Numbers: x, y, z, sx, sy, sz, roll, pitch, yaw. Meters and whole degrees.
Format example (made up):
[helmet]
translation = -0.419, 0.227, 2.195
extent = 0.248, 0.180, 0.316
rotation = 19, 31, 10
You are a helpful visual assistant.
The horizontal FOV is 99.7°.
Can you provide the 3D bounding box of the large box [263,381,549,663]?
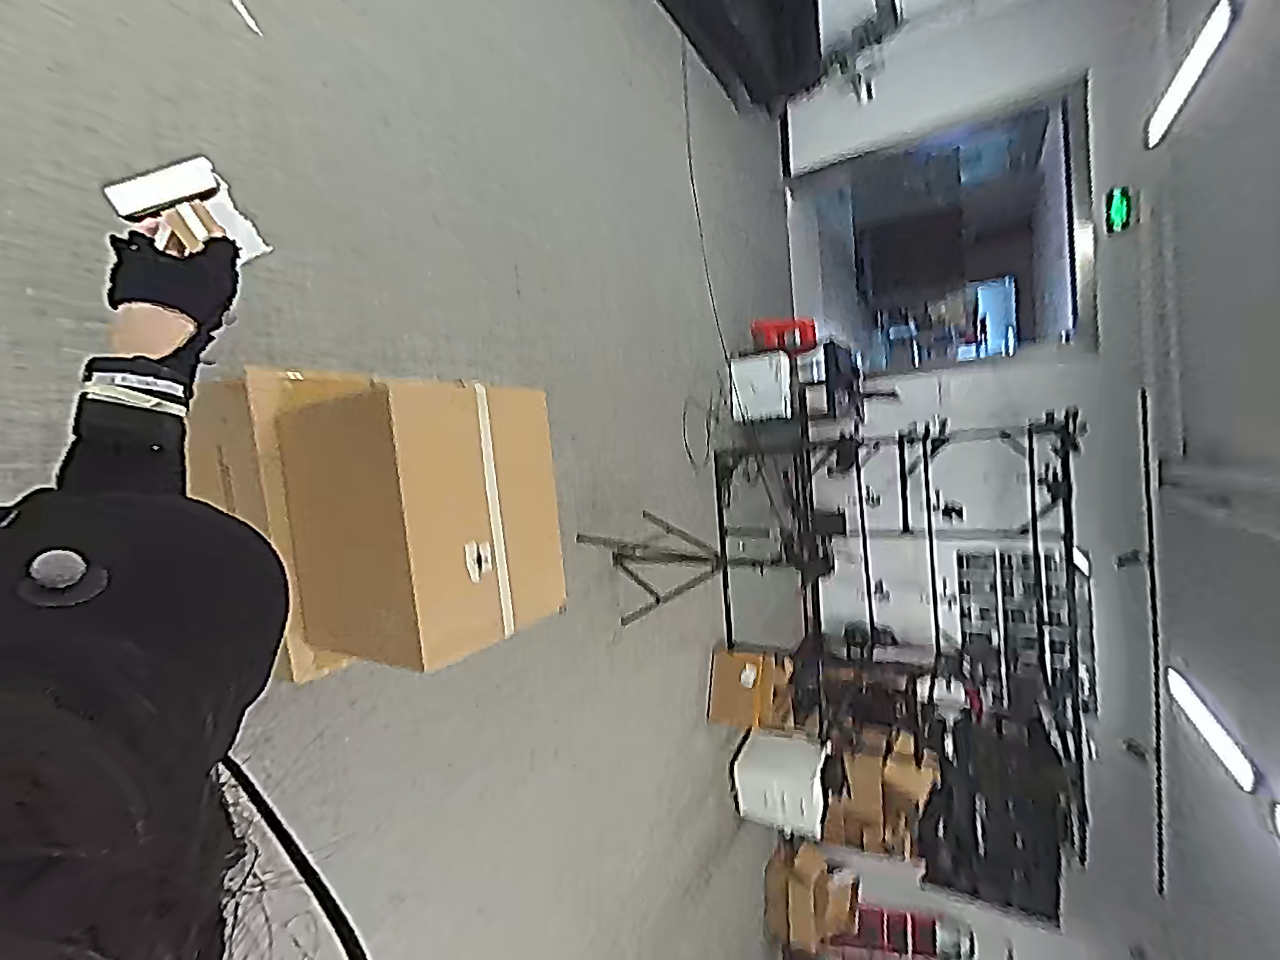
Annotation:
[large box]
translation = -0.391, 0.049, 0.940
extent = 0.320, 0.320, 0.408
rotation = -11, 98, -58
